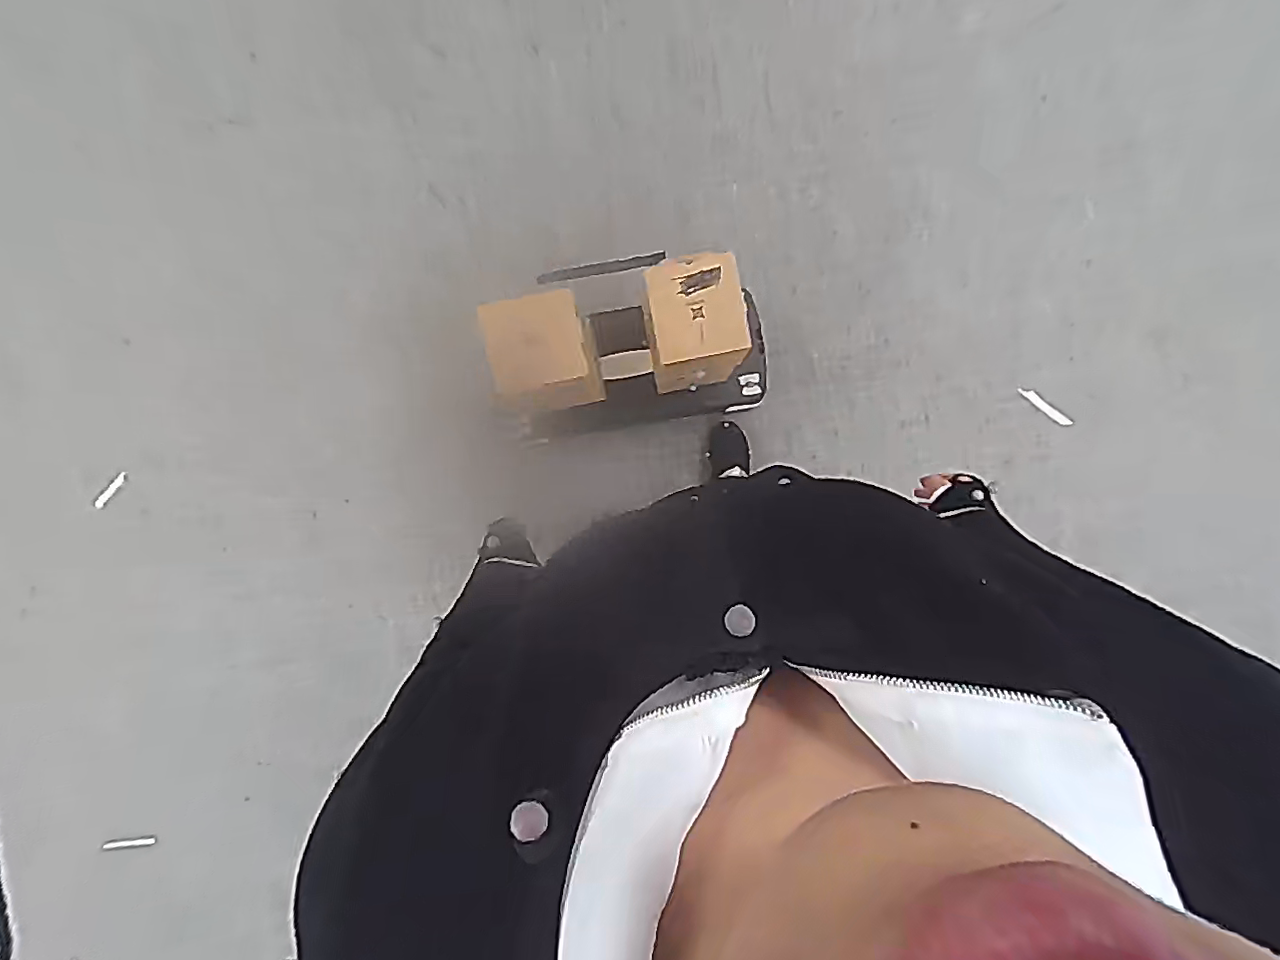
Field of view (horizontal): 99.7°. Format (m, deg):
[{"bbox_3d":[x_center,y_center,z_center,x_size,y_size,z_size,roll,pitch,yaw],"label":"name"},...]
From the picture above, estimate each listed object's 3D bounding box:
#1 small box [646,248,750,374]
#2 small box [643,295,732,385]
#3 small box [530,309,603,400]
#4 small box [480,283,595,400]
[{"bbox_3d":[0.105,-0.318,1.046,0.168,0.176,0.179,-11,92,3],"label":"small box"},{"bbox_3d":[0.102,-0.317,1.211,0.168,0.176,0.179,-10,91,3],"label":"small box"},{"bbox_3d":[-0.184,-0.268,1.224,0.179,0.176,0.168,-11,91,1],"label":"small box"},{"bbox_3d":[-0.189,-0.262,1.059,0.179,0.176,0.168,-12,90,2],"label":"small box"}]
